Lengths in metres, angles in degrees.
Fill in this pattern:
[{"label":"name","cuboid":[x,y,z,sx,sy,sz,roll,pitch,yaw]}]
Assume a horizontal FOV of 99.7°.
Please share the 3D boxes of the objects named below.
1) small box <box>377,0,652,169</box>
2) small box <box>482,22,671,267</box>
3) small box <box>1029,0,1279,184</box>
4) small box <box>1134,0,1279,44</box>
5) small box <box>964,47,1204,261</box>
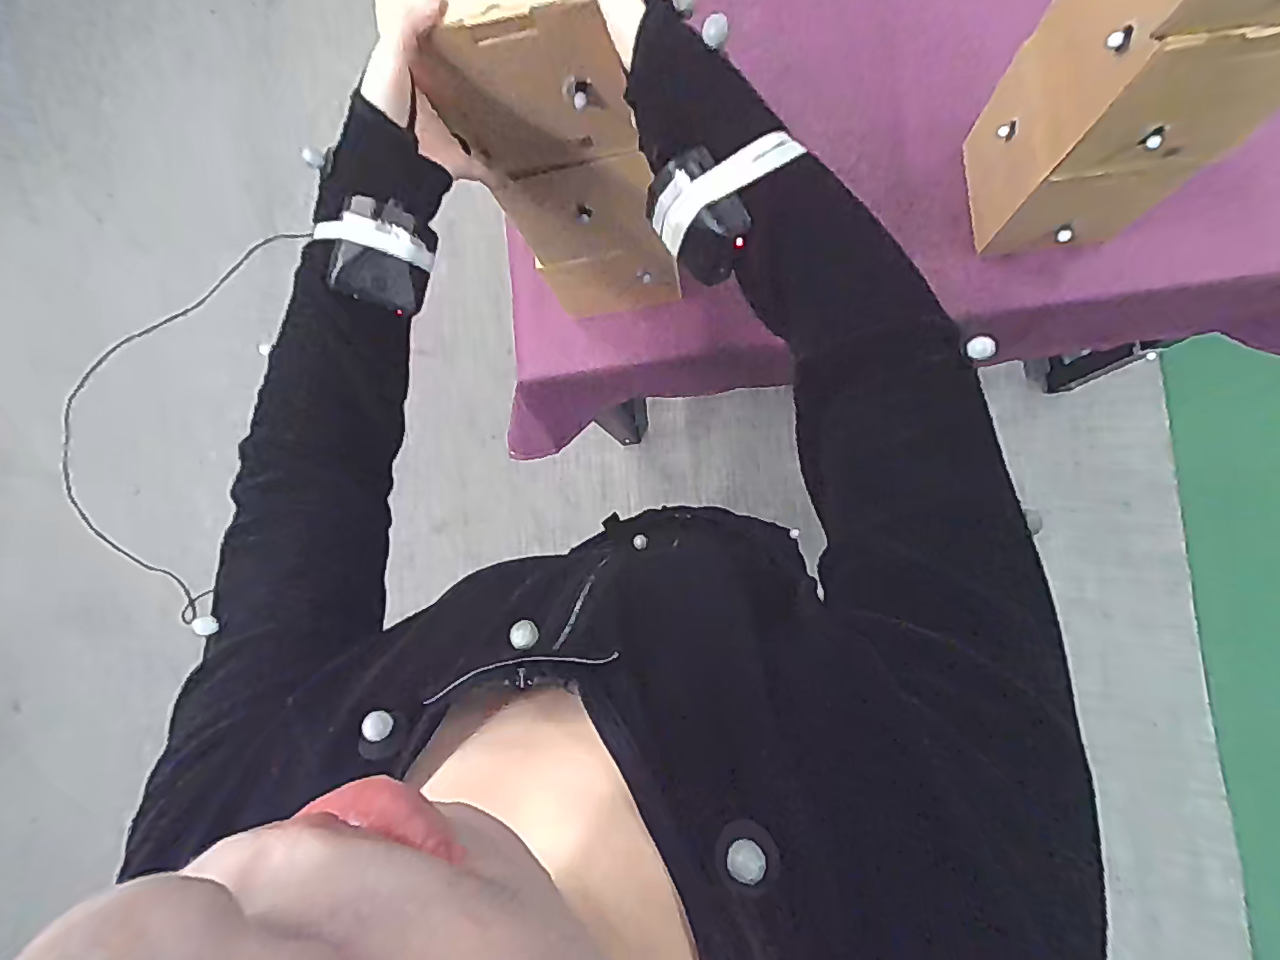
[{"label":"small box","cuboid":[-0.085,-0.375,0.427,0.168,0.176,0.179,-4,90,9]},{"label":"small box","cuboid":[-0.062,-0.362,0.598,0.179,0.176,0.168,-8,84,9]},{"label":"small box","cuboid":[0.507,-0.422,0.516,0.168,0.176,0.179,-3,84,9]},{"label":"small box","cuboid":[0.480,-0.438,0.354,0.179,0.176,0.168,-1,84,8]},{"label":"small box","cuboid":[0.530,-0.404,0.676,0.168,0.176,0.179,-3,84,9]}]
